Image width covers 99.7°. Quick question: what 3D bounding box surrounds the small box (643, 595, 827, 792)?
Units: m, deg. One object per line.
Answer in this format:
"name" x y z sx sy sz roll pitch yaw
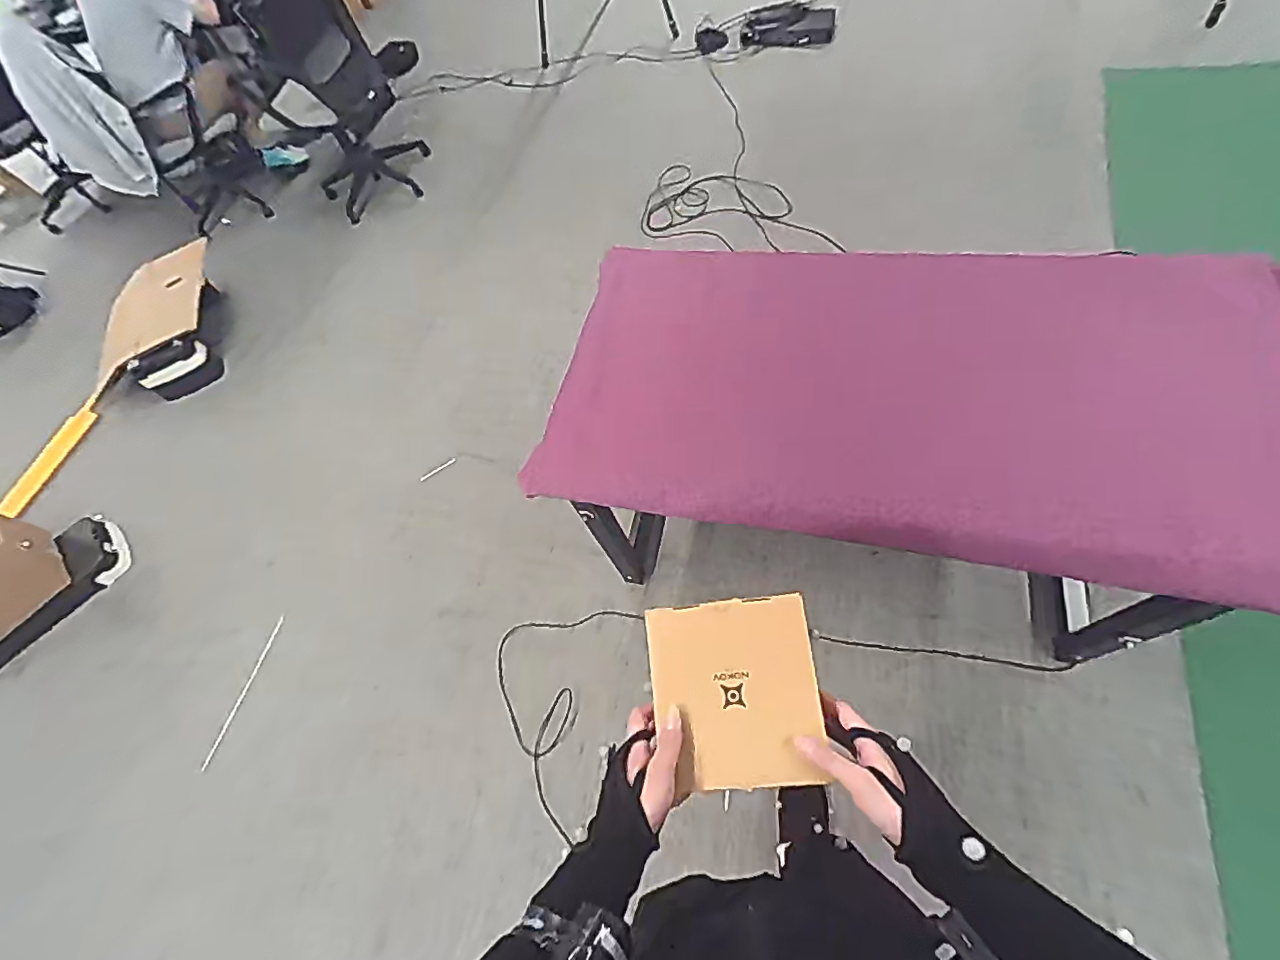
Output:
"small box" 0.105 0.230 0.607 0.168 0.176 0.179 -8 71 10
